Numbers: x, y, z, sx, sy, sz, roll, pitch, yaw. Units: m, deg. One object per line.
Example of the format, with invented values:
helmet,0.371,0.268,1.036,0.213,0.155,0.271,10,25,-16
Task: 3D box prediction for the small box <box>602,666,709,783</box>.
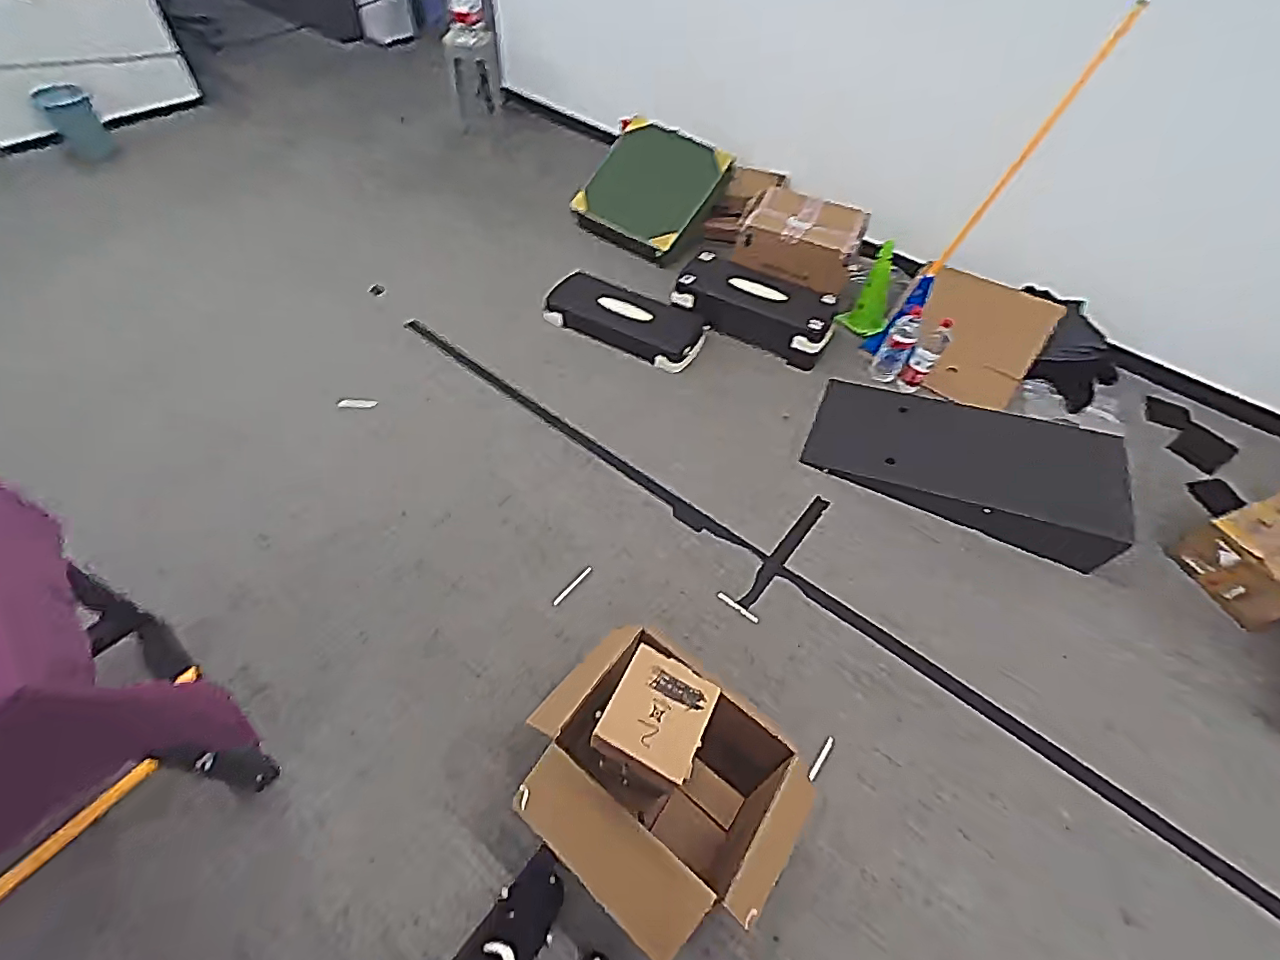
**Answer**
small box,0.026,0.520,1.139,0.179,0.176,0.168,19,56,5
